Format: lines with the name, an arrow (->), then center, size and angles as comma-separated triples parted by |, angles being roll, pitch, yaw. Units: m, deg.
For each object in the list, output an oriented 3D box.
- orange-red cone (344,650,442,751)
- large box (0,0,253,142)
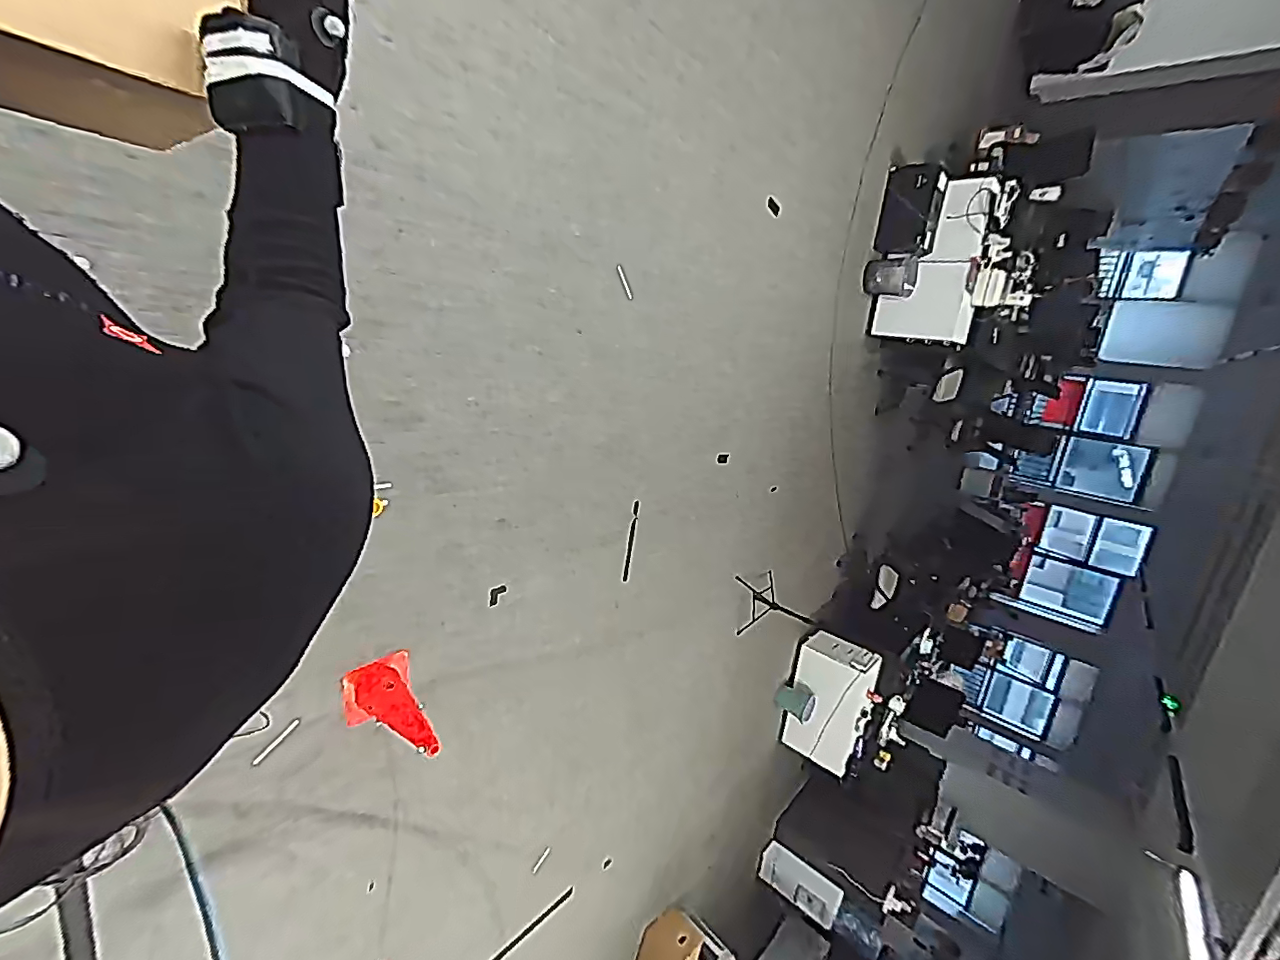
orange-red cone -> -0.699, 0.691, 1.601 | 0.198, 0.360, 0.199 | -13, 113, -48
large box -> -0.515, -0.443, 0.307 | 0.408, 0.320, 0.320 | -10, 114, -50
